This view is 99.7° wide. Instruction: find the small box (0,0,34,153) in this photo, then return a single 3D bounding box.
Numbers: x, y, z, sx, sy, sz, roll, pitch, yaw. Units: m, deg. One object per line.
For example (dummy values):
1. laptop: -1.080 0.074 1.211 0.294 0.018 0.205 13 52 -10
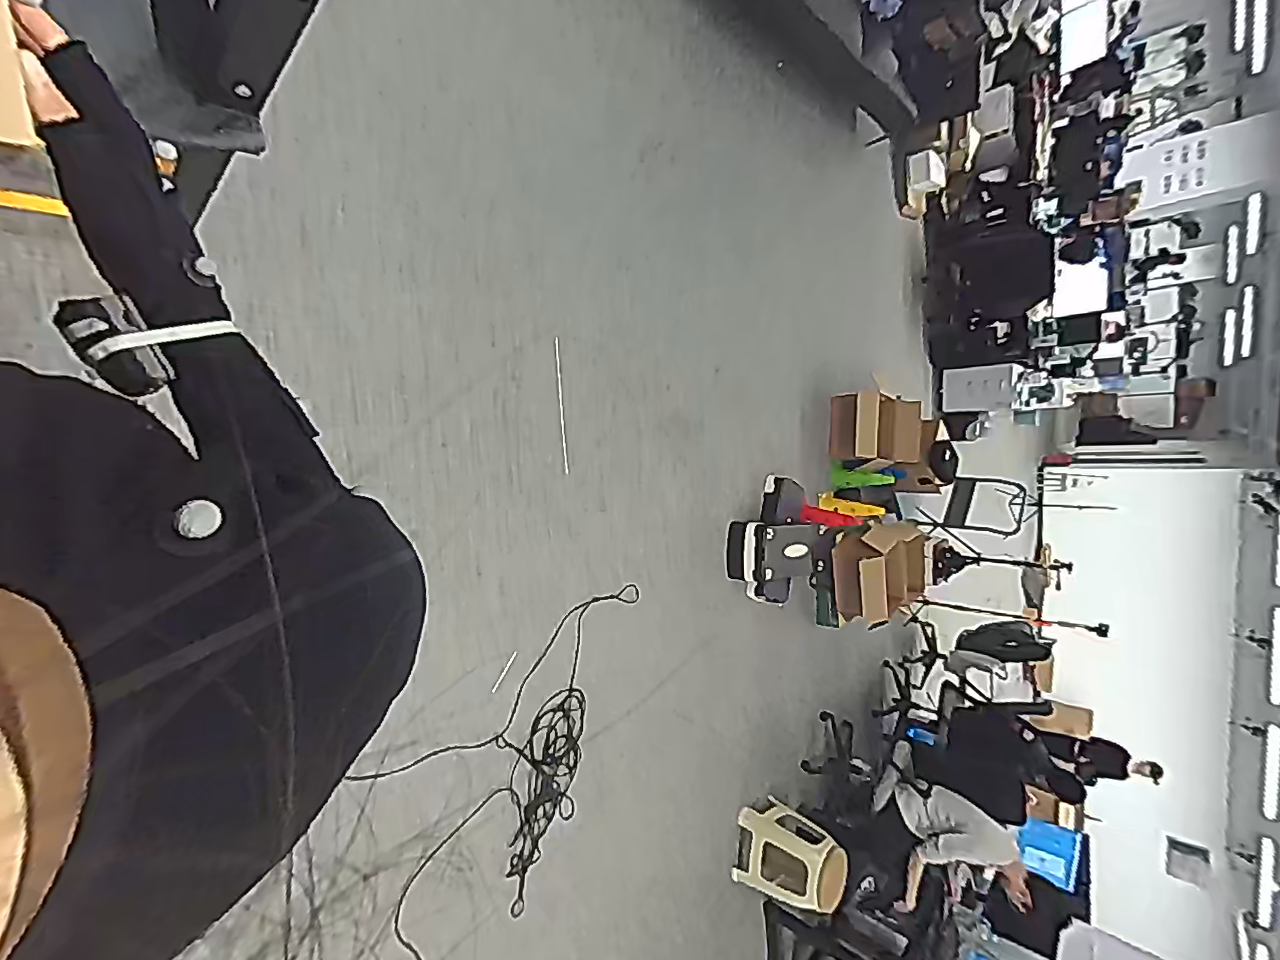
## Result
1. small box: -0.399 -0.256 0.227 0.168 0.176 0.179 -15 120 -49
